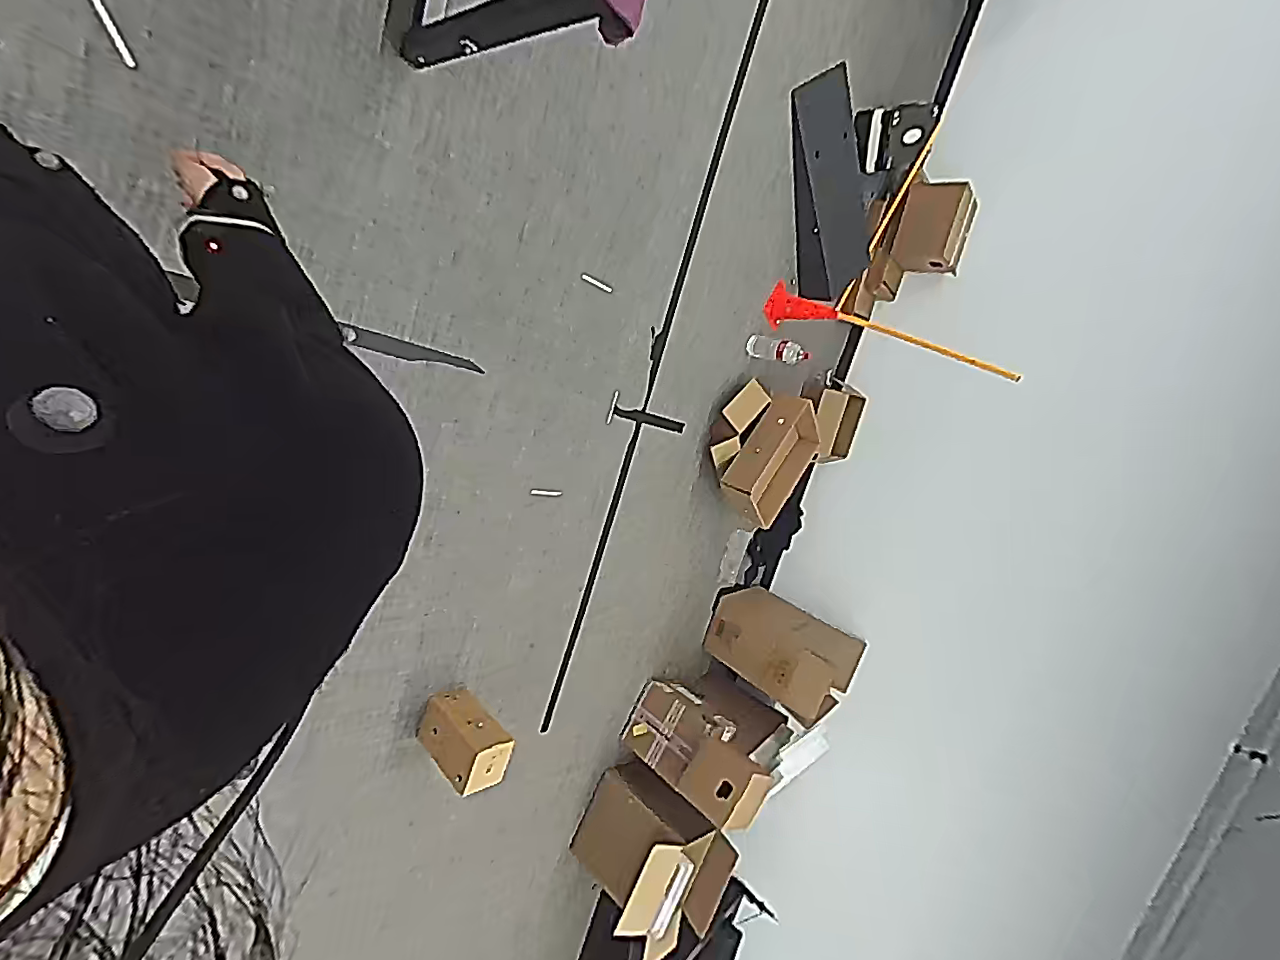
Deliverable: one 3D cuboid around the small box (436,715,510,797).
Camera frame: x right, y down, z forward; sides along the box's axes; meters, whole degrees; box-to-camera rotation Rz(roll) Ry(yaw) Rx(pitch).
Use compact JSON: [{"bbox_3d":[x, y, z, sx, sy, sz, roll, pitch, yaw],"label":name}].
[{"bbox_3d":[-0.601,0.975,1.926,0.168,0.176,0.179,12,99,-54],"label":"small box"}]
